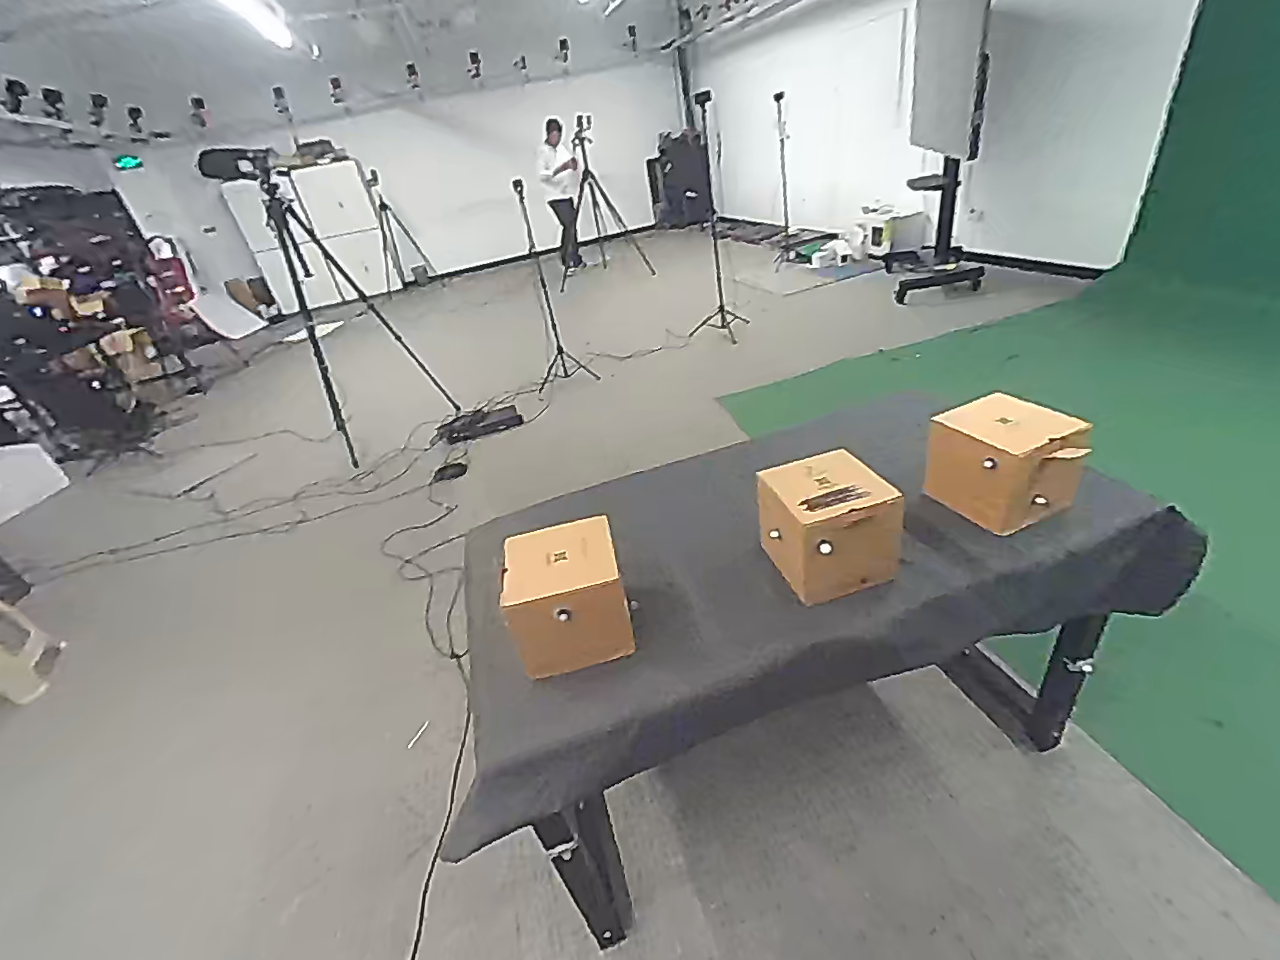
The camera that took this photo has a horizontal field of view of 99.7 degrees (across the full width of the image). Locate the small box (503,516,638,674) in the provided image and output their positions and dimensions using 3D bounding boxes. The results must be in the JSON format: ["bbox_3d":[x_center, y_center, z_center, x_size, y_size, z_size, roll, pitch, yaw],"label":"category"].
[{"bbox_3d":[-0.111,0.188,0.878,0.179,0.176,0.168,-12,33,-4],"label":"small box"}]

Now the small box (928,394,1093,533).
[{"bbox_3d":[0.654,-0.032,0.981,0.168,0.176,0.179,-20,33,-13],"label":"small box"}]
